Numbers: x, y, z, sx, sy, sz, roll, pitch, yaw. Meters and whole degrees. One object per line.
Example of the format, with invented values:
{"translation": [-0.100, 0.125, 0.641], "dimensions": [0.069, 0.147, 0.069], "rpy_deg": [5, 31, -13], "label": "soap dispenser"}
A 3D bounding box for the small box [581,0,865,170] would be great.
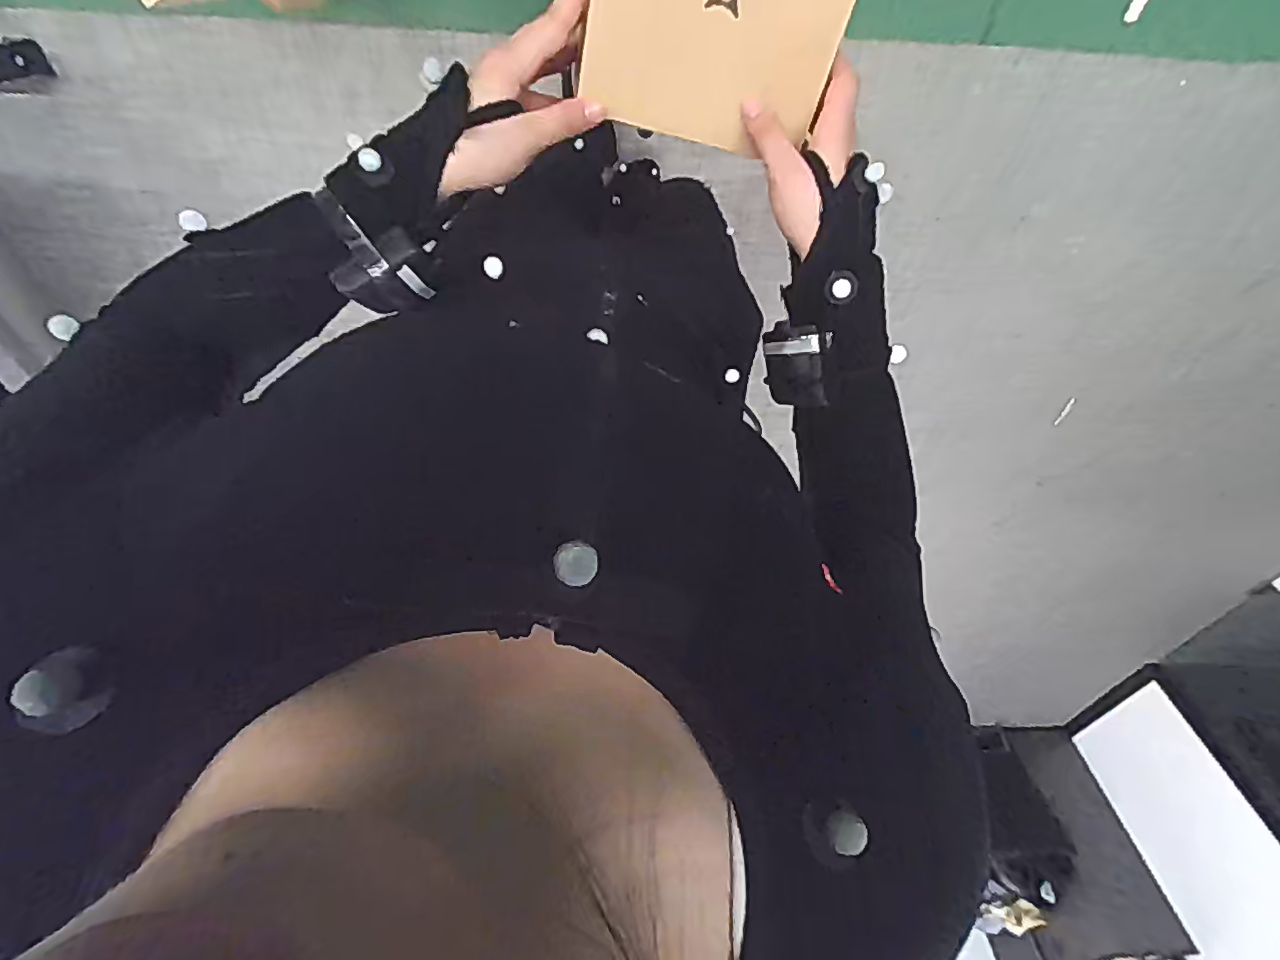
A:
{"translation": [0.052, -0.355, 0.386], "dimensions": [0.168, 0.176, 0.179], "rpy_deg": [5, 131, -13], "label": "small box"}

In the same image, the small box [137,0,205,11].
{"translation": [-0.523, -0.675, 0.608], "dimensions": [0.179, 0.176, 0.168], "rpy_deg": [-16, 134, 13], "label": "small box"}

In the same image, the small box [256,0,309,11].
{"translation": [-0.521, -0.789, 0.727], "dimensions": [0.168, 0.176, 0.179], "rpy_deg": [28, 126, -28], "label": "small box"}
